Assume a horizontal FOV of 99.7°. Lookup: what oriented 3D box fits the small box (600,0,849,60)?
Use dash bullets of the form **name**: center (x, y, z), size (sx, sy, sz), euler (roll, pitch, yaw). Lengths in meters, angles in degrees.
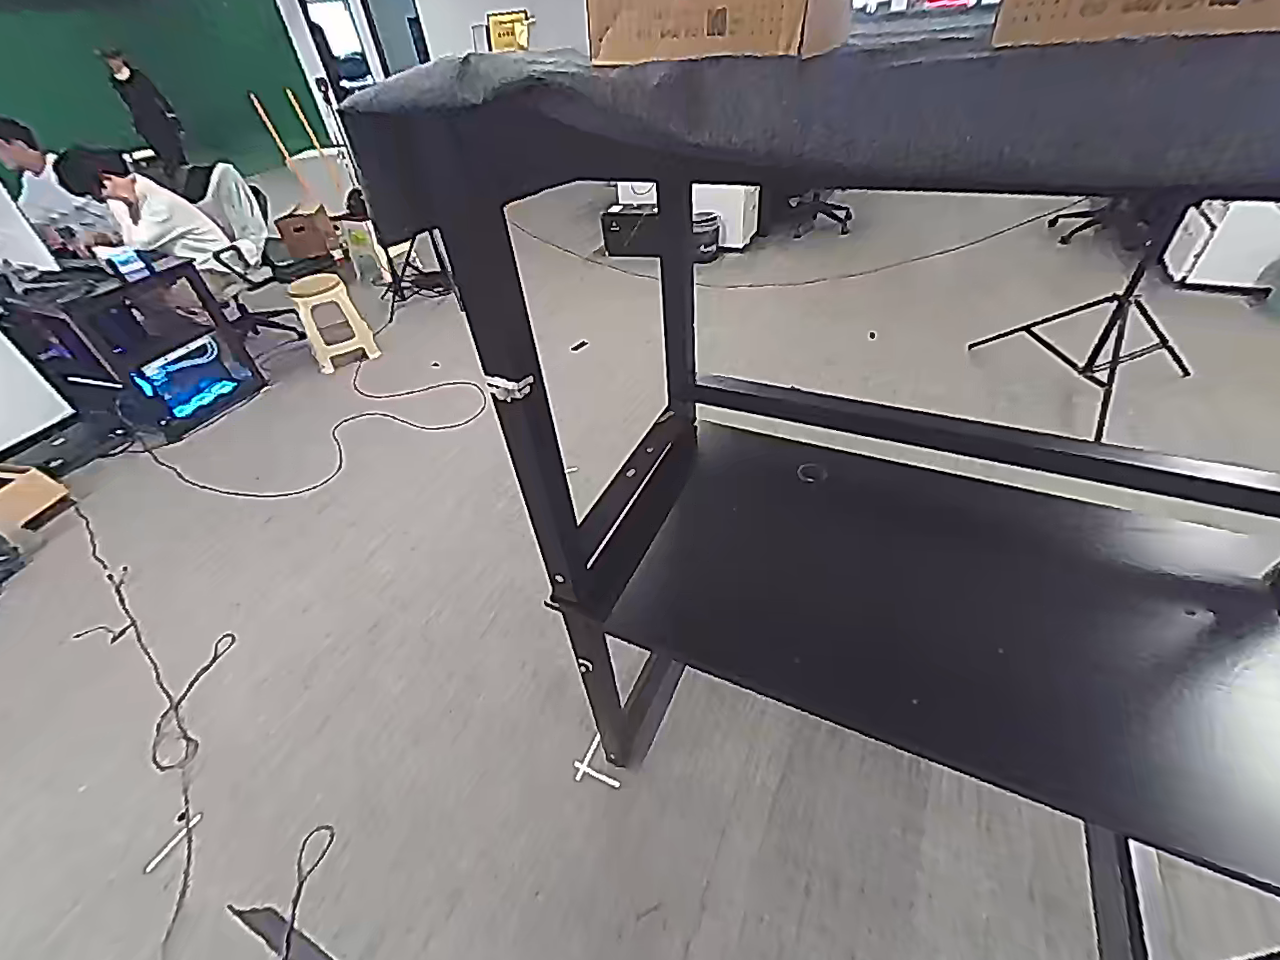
- **small box**: center (0.069, -0.421, 0.395), size (0.168, 0.176, 0.179), euler (15, 44, 21)
